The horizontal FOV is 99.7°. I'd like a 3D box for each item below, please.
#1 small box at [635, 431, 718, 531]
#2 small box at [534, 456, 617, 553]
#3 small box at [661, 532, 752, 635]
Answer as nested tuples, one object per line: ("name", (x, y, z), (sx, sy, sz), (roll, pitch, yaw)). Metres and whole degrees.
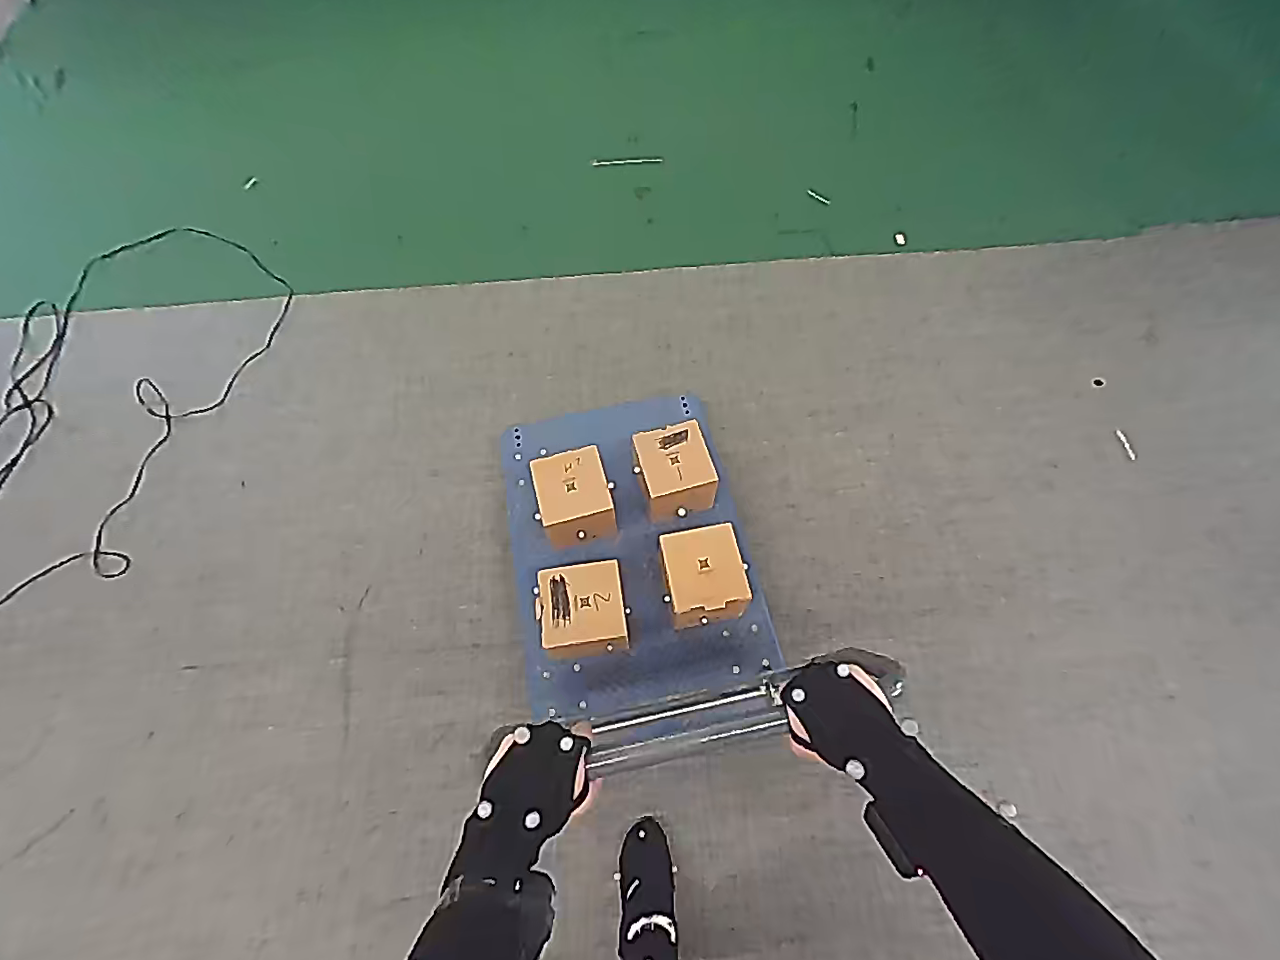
("small box", (0.087, 0.005, 1.368), (0.168, 0.176, 0.179), (-14, 64, -5))
("small box", (-0.155, 0.069, 1.342), (0.168, 0.176, 0.179), (-14, 63, -7))
("small box", (0.143, 0.241, 1.248), (0.168, 0.176, 0.179), (-10, 63, -4))
